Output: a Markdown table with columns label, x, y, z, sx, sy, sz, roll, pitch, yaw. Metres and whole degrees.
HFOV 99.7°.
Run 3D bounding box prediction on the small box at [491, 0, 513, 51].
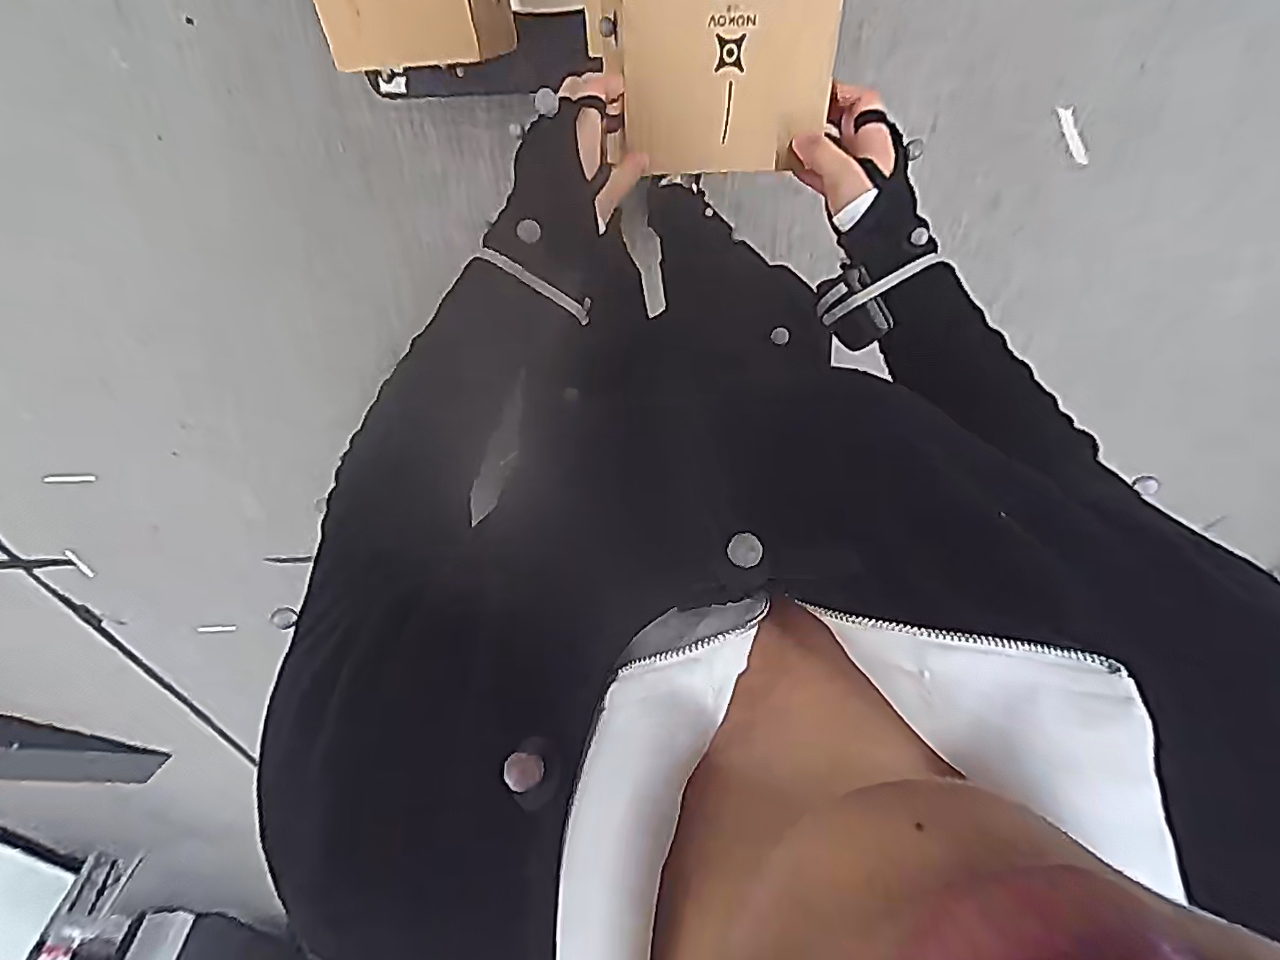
| label | x | y | z | sx | sy | sz | roll | pitch | yaw |
| --- | --- | --- | --- | --- | --- | --- | --- | --- | --- |
| small box | -0.289 | -0.722 | 0.779 | 0.179 | 0.176 | 0.168 | -4 | 131 | 1 |

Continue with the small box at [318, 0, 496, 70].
| label | x | y | z | sx | sy | sz | roll | pitch | yaw |
| --- | --- | --- | --- | --- | --- | --- | --- | --- | --- |
| small box | -0.282 | -0.613 | 0.657 | 0.179 | 0.176 | 0.168 | -5 | 130 | 1 |

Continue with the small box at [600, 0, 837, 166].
| label | x | y | z | sx | sy | sz | roll | pitch | yaw |
| --- | --- | --- | --- | --- | --- | --- | --- | --- | --- |
| small box | 0.055 | -0.379 | 0.472 | 0.168 | 0.176 | 0.179 | -5 | 124 | -6 |
